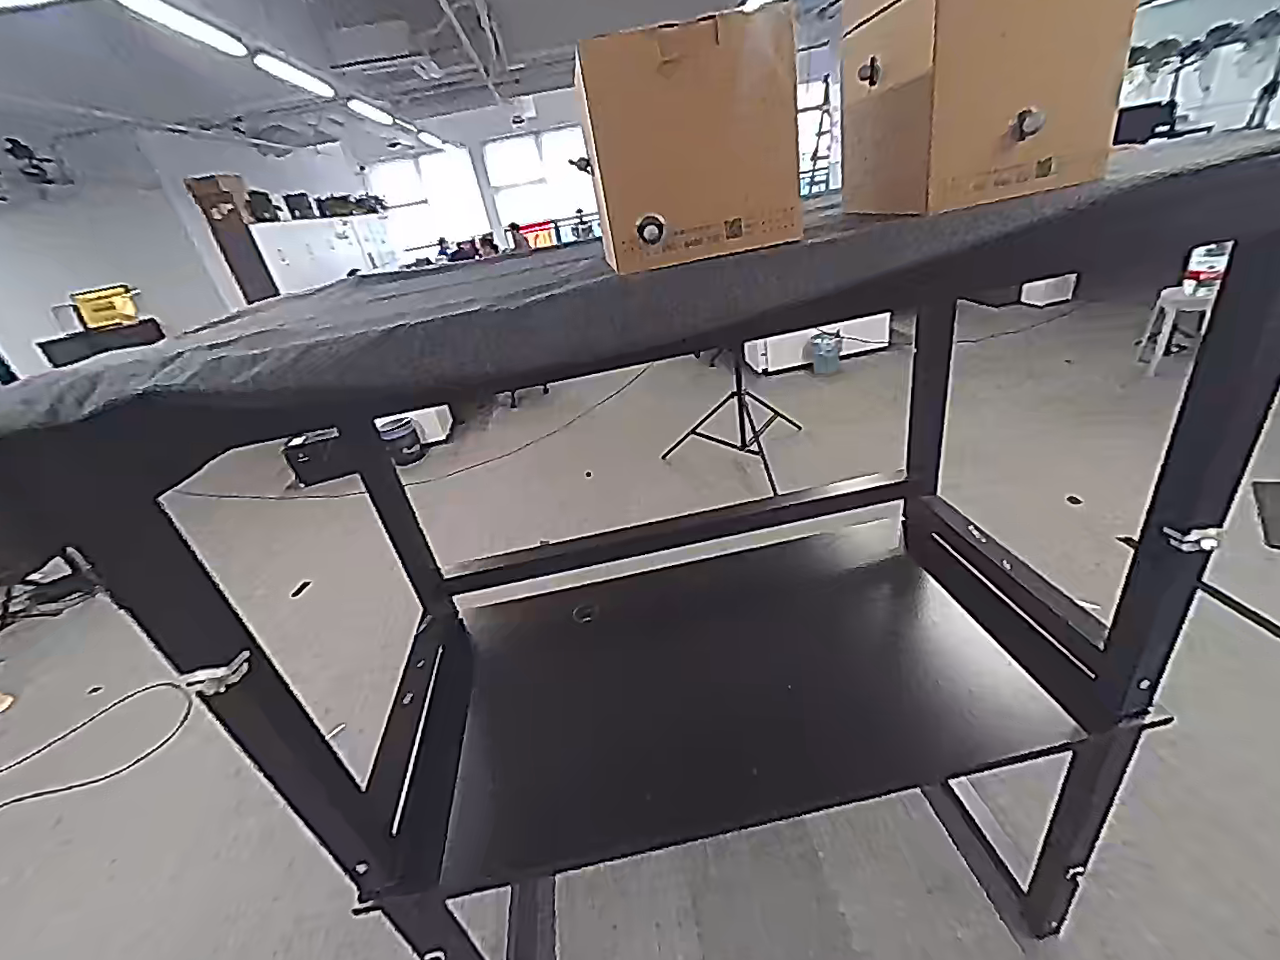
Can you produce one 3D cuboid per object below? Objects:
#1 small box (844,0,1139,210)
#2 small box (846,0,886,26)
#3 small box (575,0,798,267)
[{"bbox_3d":[0.307,-0.361,0.511,0.168,0.176,0.179,-13,28,0],"label":"small box"},{"bbox_3d":[0.279,-0.504,0.436,0.168,0.176,0.179,-11,28,0],"label":"small box"},{"bbox_3d":[0.038,-0.302,0.503,0.168,0.176,0.179,-12,26,-2],"label":"small box"}]
